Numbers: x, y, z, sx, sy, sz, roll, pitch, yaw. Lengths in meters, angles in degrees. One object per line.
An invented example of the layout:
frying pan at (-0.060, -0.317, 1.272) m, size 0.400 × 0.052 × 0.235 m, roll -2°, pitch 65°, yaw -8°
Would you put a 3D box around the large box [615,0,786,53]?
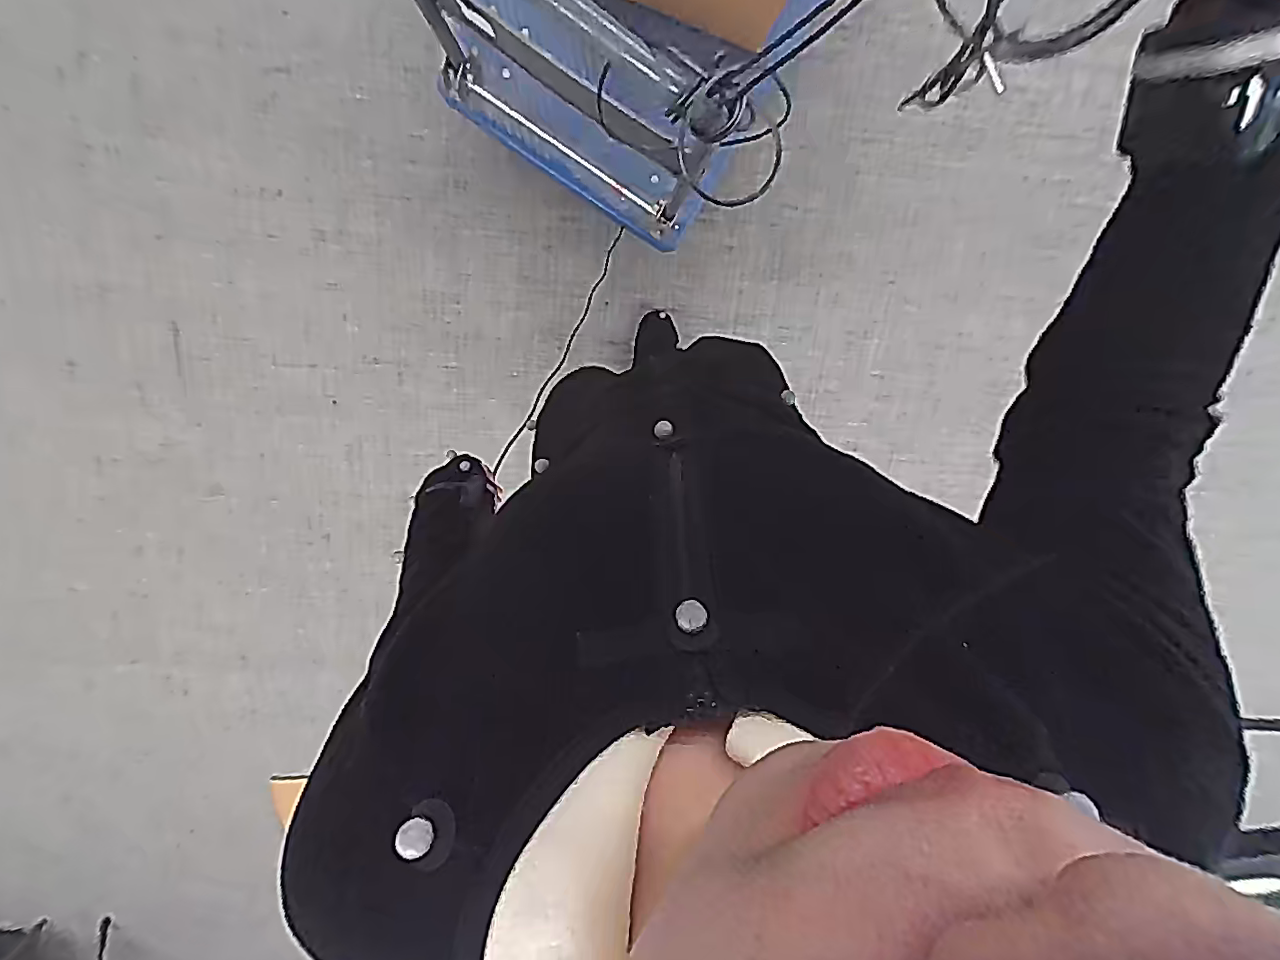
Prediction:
large box at (0.093, -0.996, 0.874) m, size 0.408 × 0.320 × 0.320 m, roll 16°, pitch 106°, yaw -7°
